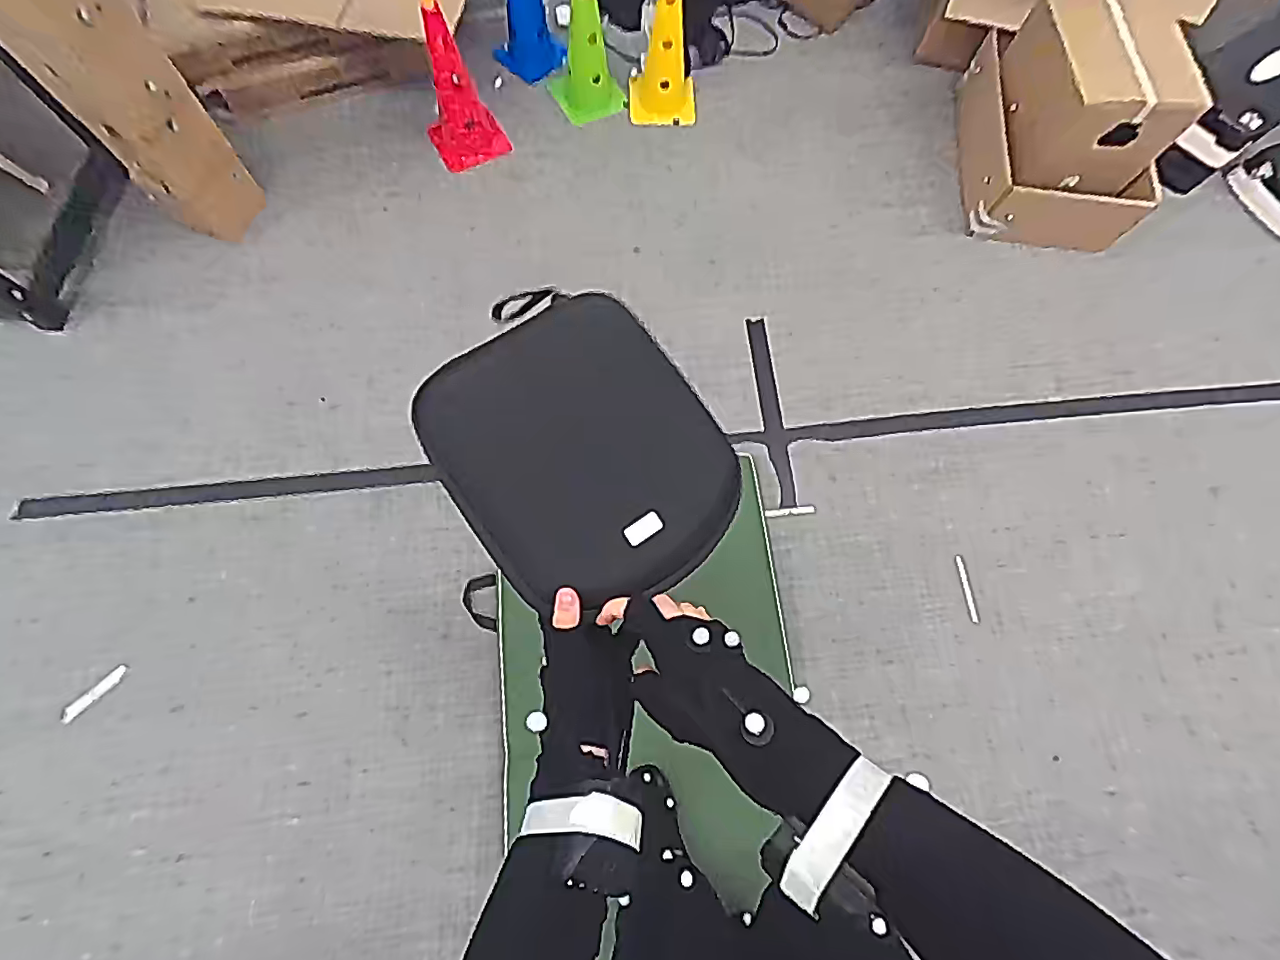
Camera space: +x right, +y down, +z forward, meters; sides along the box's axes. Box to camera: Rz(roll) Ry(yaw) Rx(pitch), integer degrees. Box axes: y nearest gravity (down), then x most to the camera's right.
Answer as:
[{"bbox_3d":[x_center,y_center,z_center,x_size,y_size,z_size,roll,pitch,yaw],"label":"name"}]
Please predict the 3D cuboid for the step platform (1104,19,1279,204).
[{"bbox_3d":[1.808,-1.139,1.664,0.684,0.204,0.286,-34,76,-12],"label":"step platform"}]
